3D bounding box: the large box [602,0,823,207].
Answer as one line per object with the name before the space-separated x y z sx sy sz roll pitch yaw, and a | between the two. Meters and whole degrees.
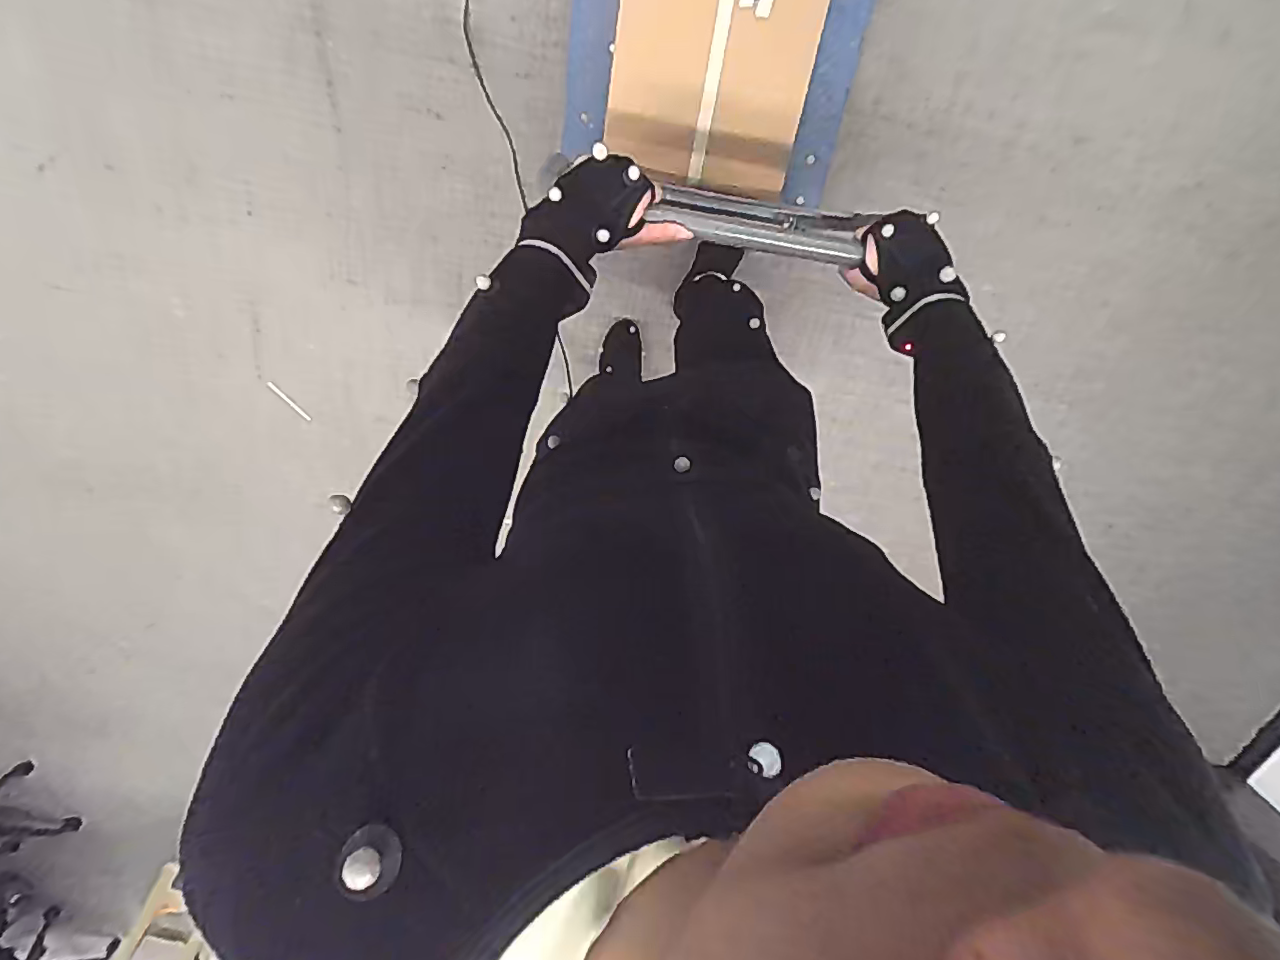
large box | 0.112 -0.741 0.978 0.320 0.320 0.408 8 114 -6
